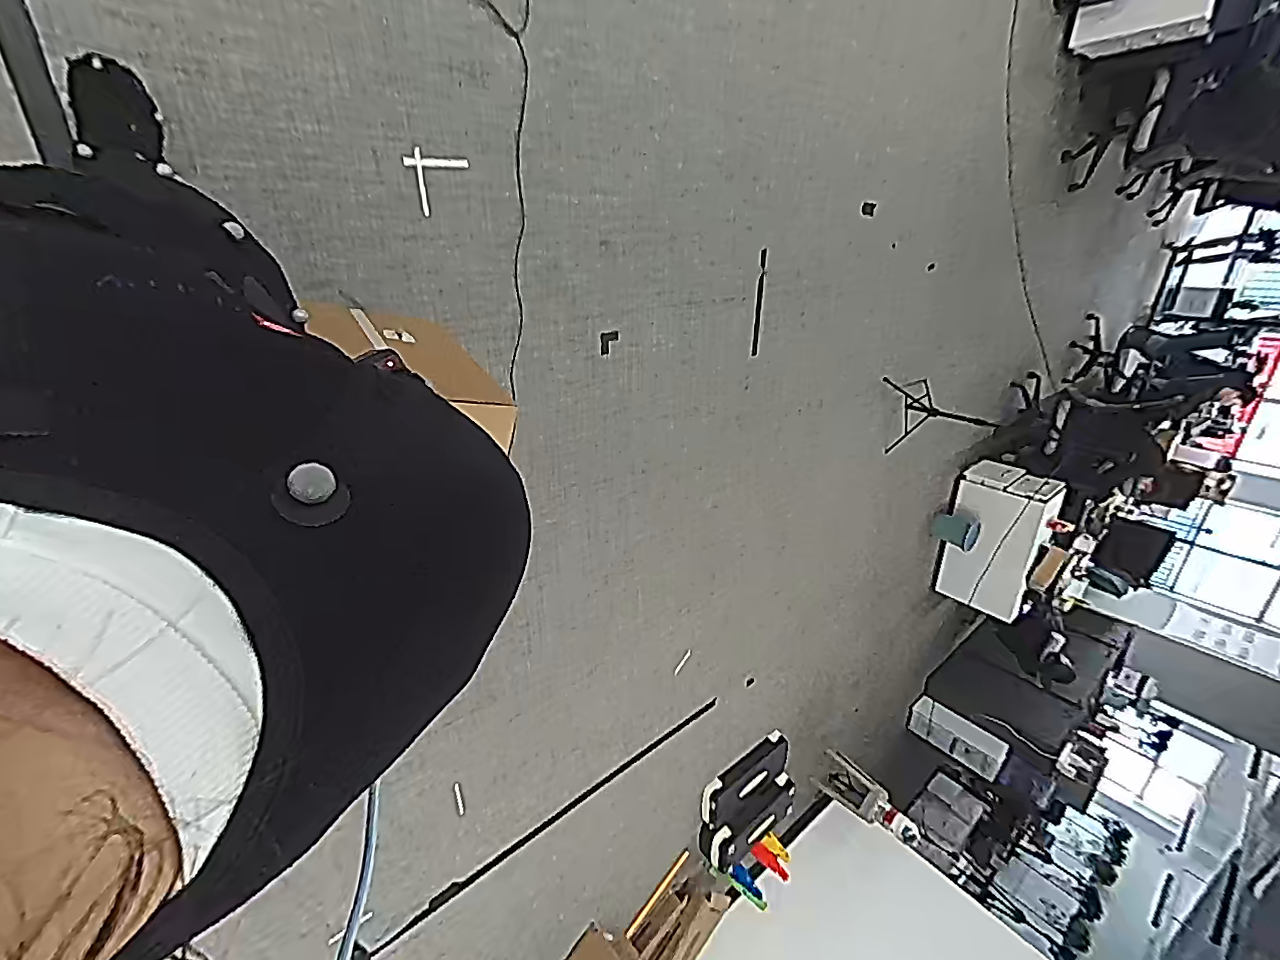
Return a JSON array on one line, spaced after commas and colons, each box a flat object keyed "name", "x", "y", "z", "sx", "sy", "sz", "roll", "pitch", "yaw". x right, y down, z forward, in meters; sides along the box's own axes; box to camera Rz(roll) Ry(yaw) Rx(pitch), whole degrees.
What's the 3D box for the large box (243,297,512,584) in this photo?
[{"name": "large box", "x": -0.466, "y": -0.081, "z": 0.918, "sx": 0.320, "sy": 0.408, "sz": 0.320, "roll": -1, "pitch": 119, "yaw": -41}]
